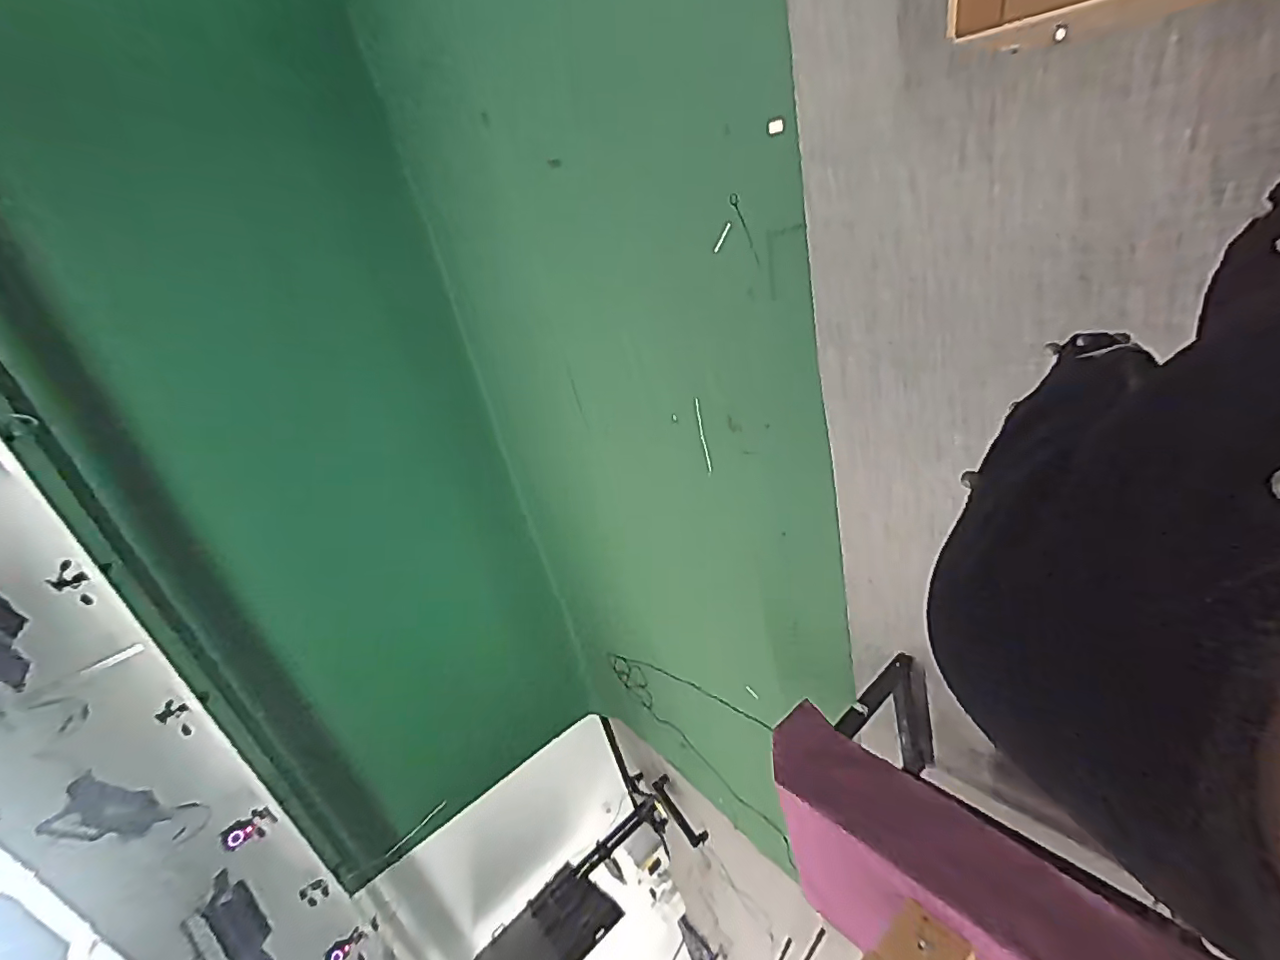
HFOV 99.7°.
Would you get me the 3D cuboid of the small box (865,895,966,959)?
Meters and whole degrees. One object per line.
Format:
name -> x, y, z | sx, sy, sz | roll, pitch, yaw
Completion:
small box -> 0.685, 1.193, 1.339 | 0.168, 0.176, 0.179 | 13, 125, 52
